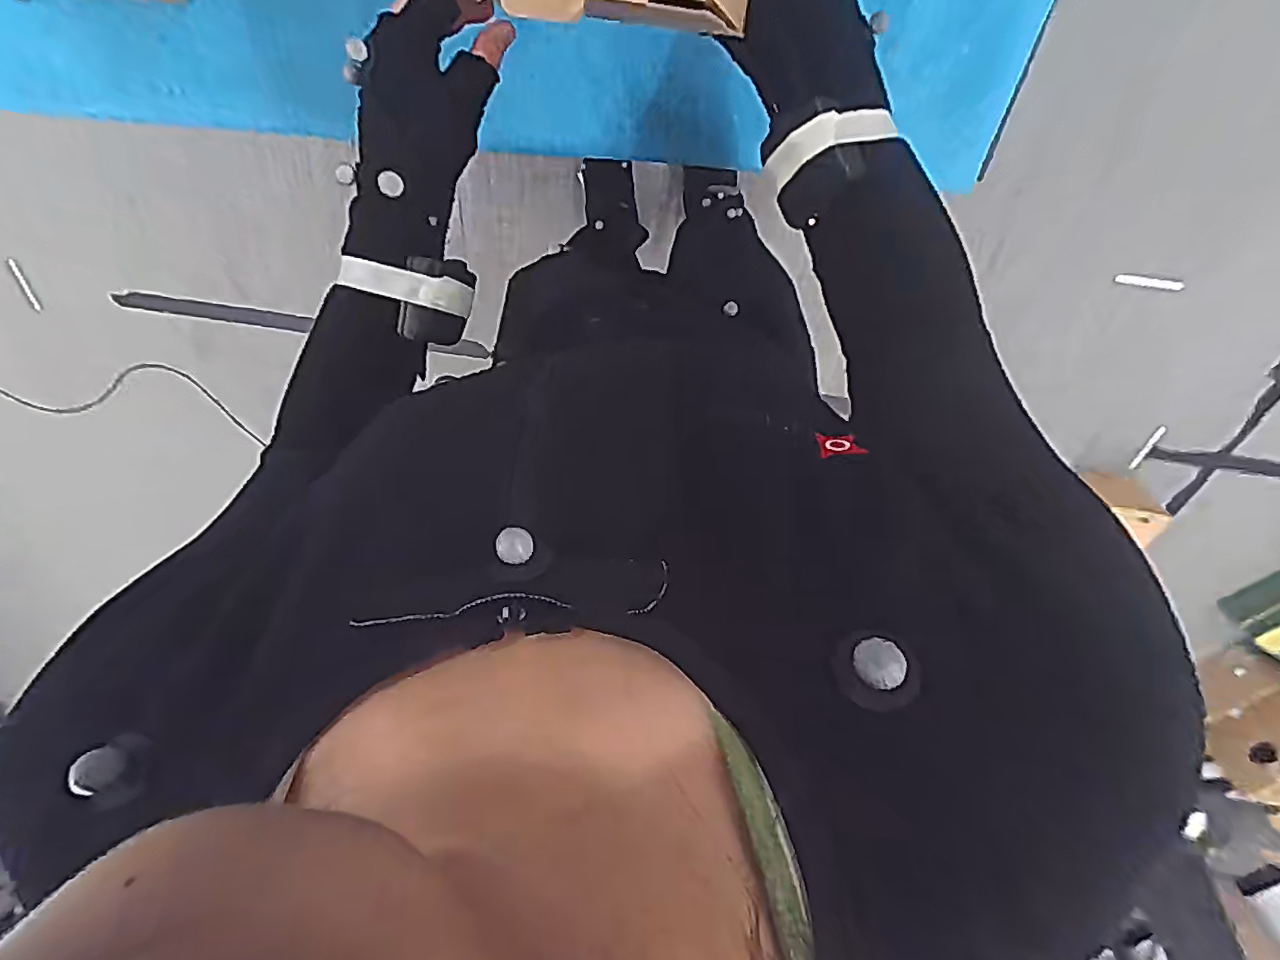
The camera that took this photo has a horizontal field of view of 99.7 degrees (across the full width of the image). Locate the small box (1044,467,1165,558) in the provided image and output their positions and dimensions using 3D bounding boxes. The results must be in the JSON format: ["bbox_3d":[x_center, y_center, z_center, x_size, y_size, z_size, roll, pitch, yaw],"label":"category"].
[{"bbox_3d":[1.295,0.091,1.530,0.168,0.176,0.179,10,129,-2],"label":"small box"}]

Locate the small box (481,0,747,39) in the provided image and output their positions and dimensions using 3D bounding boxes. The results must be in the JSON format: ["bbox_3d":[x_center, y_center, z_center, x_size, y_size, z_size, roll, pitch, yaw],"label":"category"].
[{"bbox_3d":[-0.016,-0.357,0.285,0.168,0.179,0.176,14,127,7],"label":"small box"}]
